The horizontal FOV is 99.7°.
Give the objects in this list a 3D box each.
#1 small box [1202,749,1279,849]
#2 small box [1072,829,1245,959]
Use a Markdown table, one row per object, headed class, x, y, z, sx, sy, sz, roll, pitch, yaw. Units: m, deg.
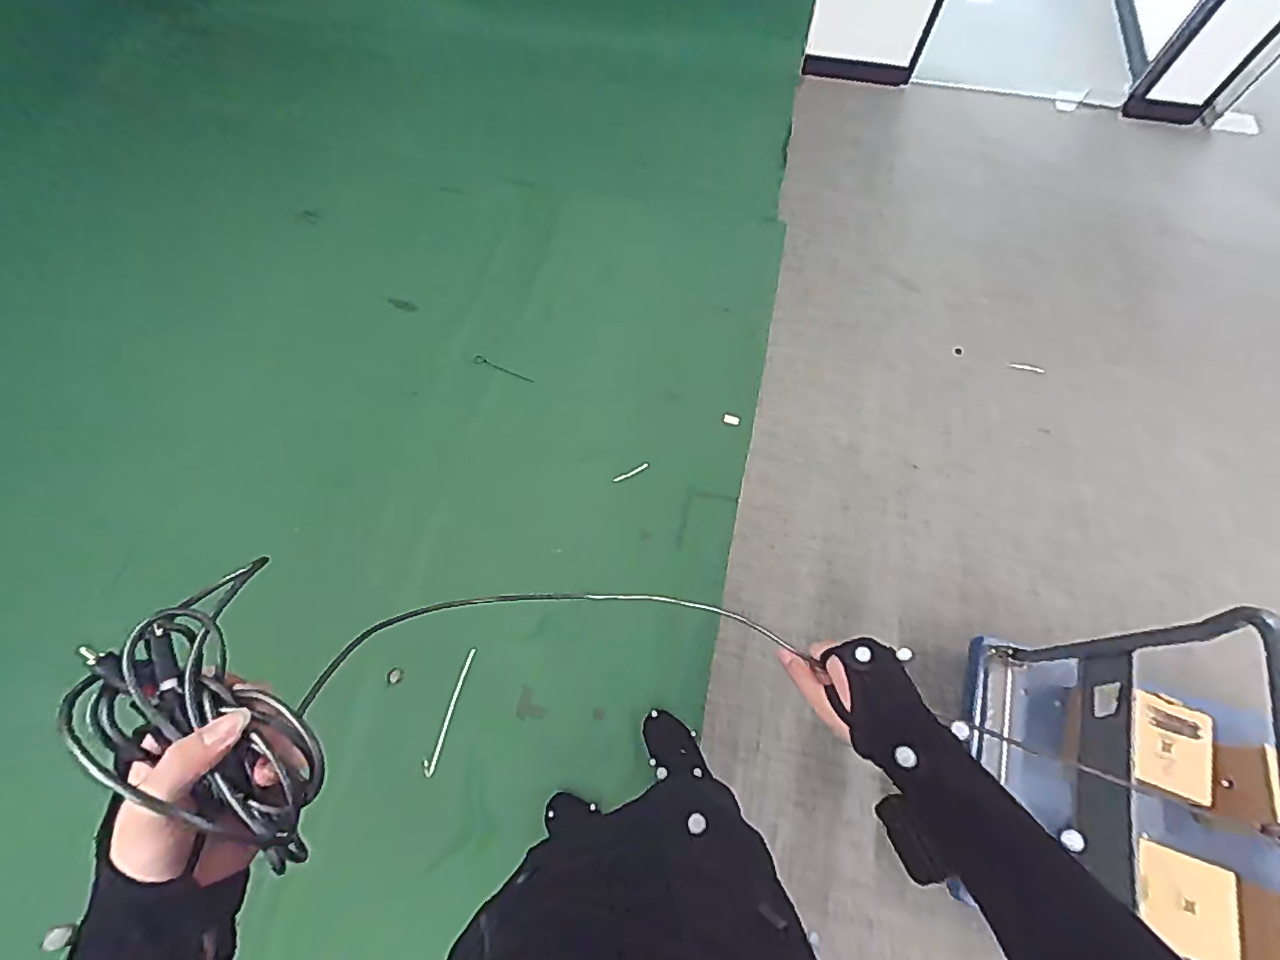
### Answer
| class | x | y | z | sx | sy | sz | roll | pitch | yaw |
| --- | --- | --- | --- | --- | --- | --- | --- | --- | --- |
| small box | 1.310 | 0.660 | 1.102 | 0.179 | 0.176 | 0.168 | 14 | 68 | 6 |
| small box | 0.991 | 0.805 | 1.044 | 0.179 | 0.176 | 0.168 | 18 | 68 | 8 |
